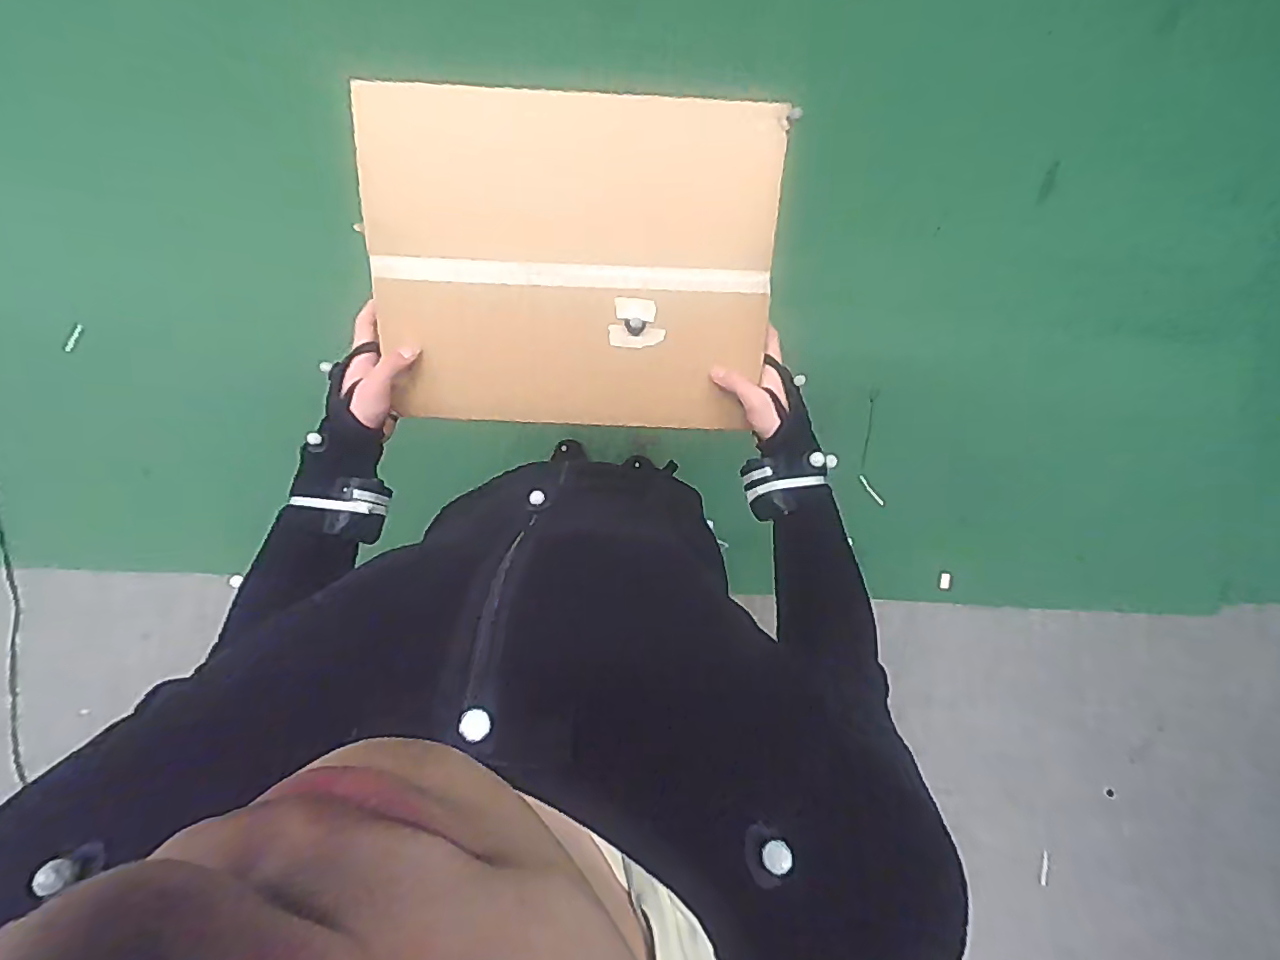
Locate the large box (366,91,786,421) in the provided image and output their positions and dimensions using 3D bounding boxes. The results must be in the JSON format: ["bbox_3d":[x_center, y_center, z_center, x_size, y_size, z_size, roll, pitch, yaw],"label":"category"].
[{"bbox_3d":[-0.067,-0.263,0.697,0.408,0.320,0.320,1,111,-2],"label":"large box"}]
